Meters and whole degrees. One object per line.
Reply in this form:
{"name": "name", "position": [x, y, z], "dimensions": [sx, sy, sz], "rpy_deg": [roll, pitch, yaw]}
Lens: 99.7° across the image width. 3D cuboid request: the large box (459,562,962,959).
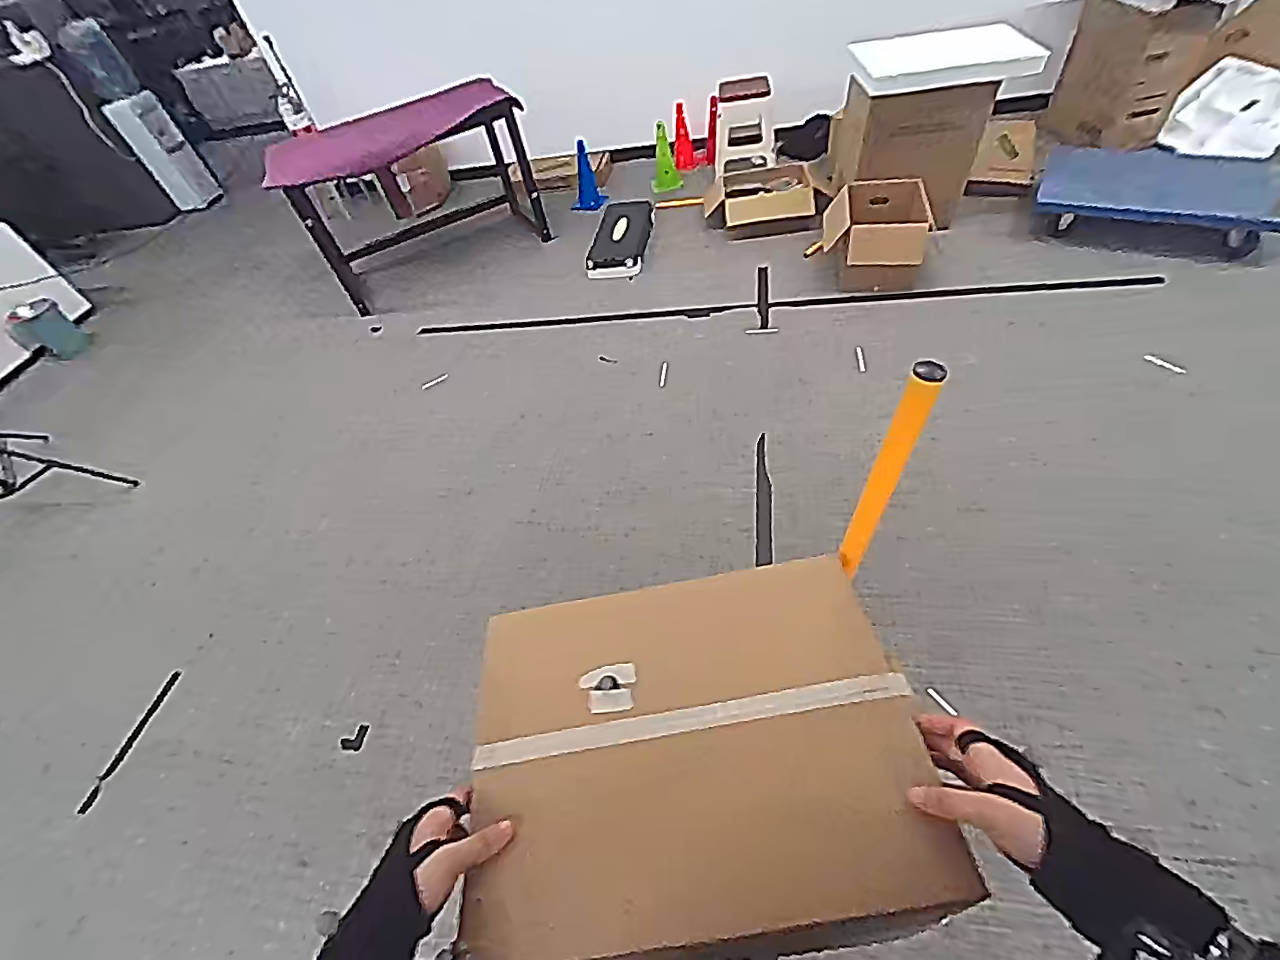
{"name": "large box", "position": [0.061, 0.343, 0.621], "dimensions": [0.408, 0.320, 0.320], "rpy_deg": [-12, 44, 3]}
